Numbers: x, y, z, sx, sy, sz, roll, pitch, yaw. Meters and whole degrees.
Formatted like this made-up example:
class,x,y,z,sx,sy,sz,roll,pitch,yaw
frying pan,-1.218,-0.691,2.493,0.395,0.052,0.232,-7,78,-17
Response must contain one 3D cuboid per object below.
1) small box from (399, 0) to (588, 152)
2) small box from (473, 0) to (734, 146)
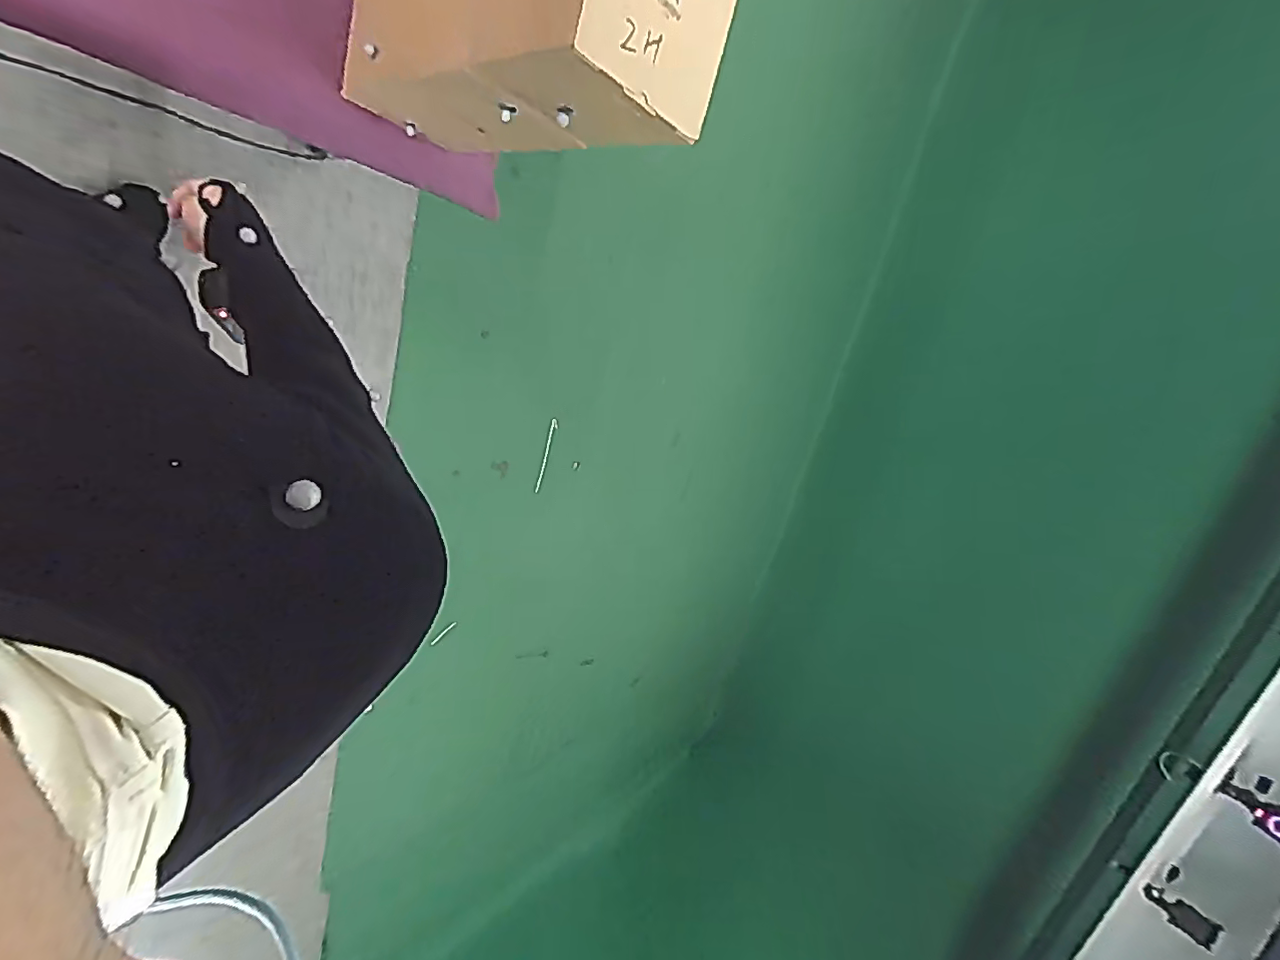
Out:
class,x,y,z,sx,sy,sz,roll,pitch,yaw
small box,-0.150,-0.501,0.612,0.168,0.176,0.179,2,109,-48
small box,-0.034,-0.445,0.509,0.168,0.176,0.179,1,111,-48
